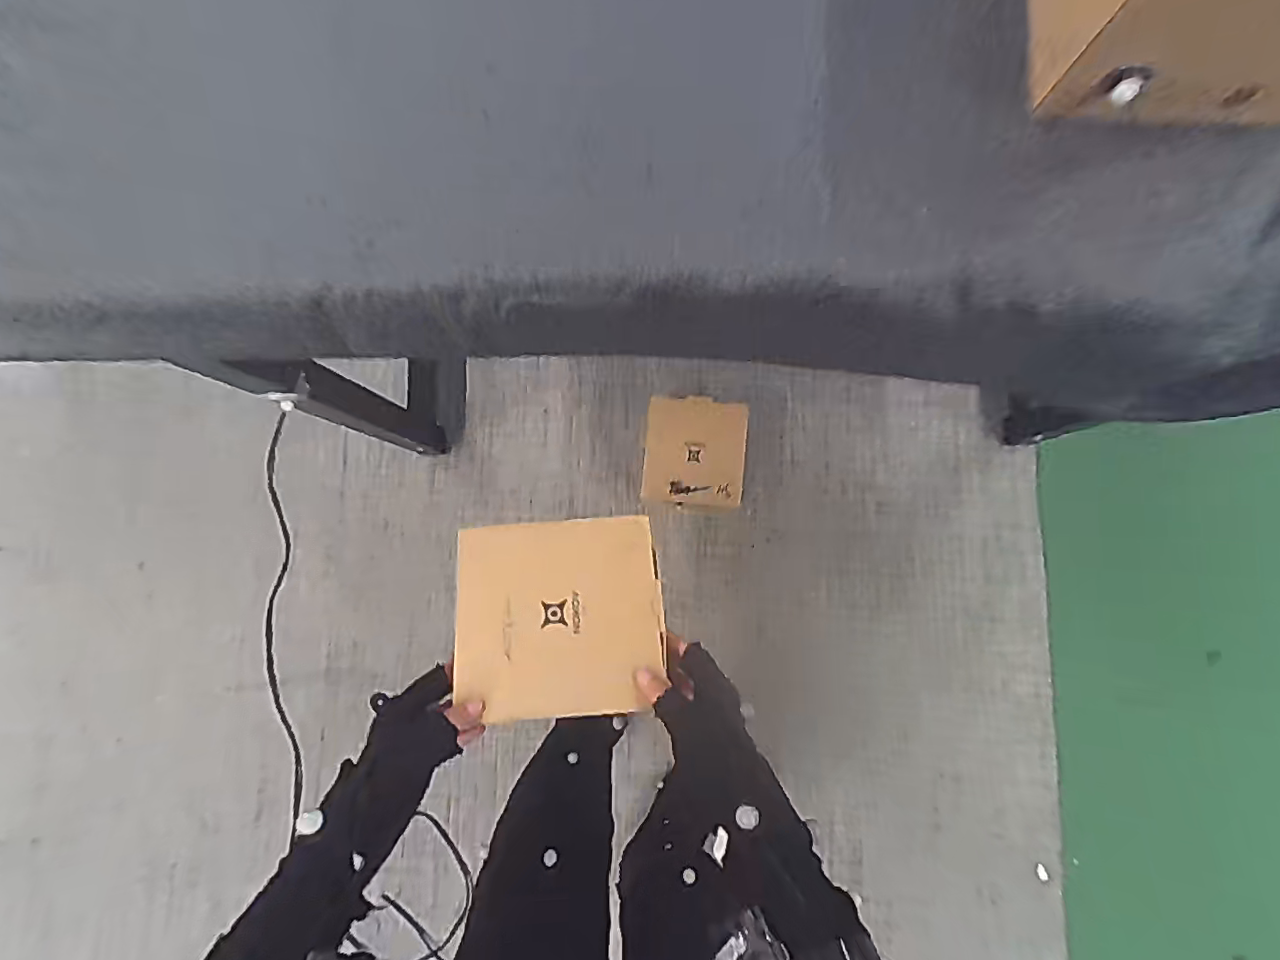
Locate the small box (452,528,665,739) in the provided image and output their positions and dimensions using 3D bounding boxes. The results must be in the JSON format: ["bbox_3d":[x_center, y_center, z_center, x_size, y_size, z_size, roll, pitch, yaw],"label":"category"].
[{"bbox_3d":[-0.072,0.156,0.541,0.179,0.176,0.168,-6,68,-1],"label":"small box"}]
